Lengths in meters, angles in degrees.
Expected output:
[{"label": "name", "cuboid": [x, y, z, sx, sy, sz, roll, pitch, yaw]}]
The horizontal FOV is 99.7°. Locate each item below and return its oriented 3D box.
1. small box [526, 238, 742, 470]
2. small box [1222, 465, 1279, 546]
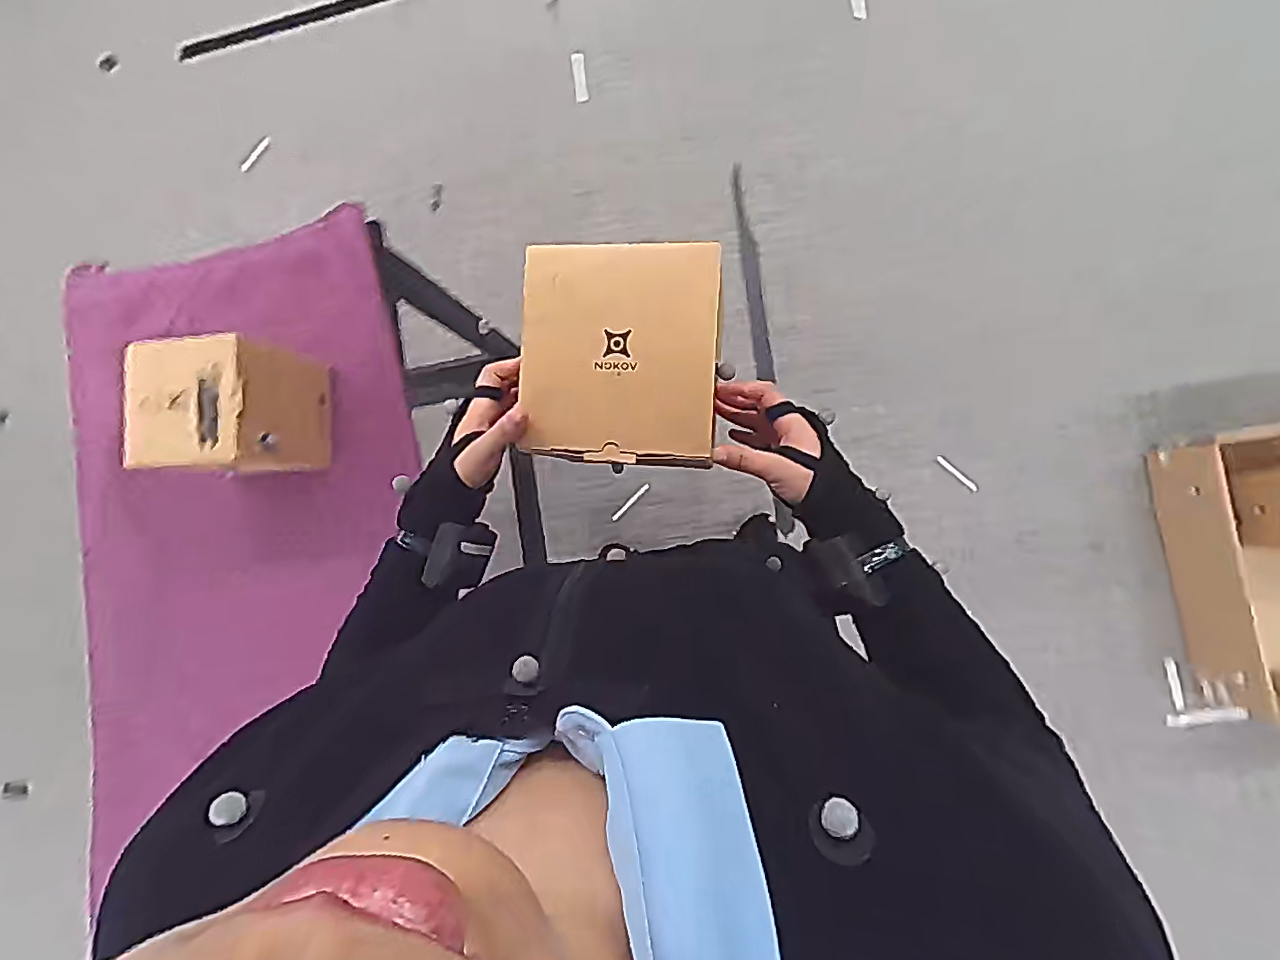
[{"label": "small box", "cuboid": [0.003, -0.106, 0.518, 0.168, 0.176, 0.179, 5, 90, 8]}, {"label": "small box", "cuboid": [1.443, 0.050, 1.182, 0.179, 0.176, 0.168, -11, 87, 7]}]
